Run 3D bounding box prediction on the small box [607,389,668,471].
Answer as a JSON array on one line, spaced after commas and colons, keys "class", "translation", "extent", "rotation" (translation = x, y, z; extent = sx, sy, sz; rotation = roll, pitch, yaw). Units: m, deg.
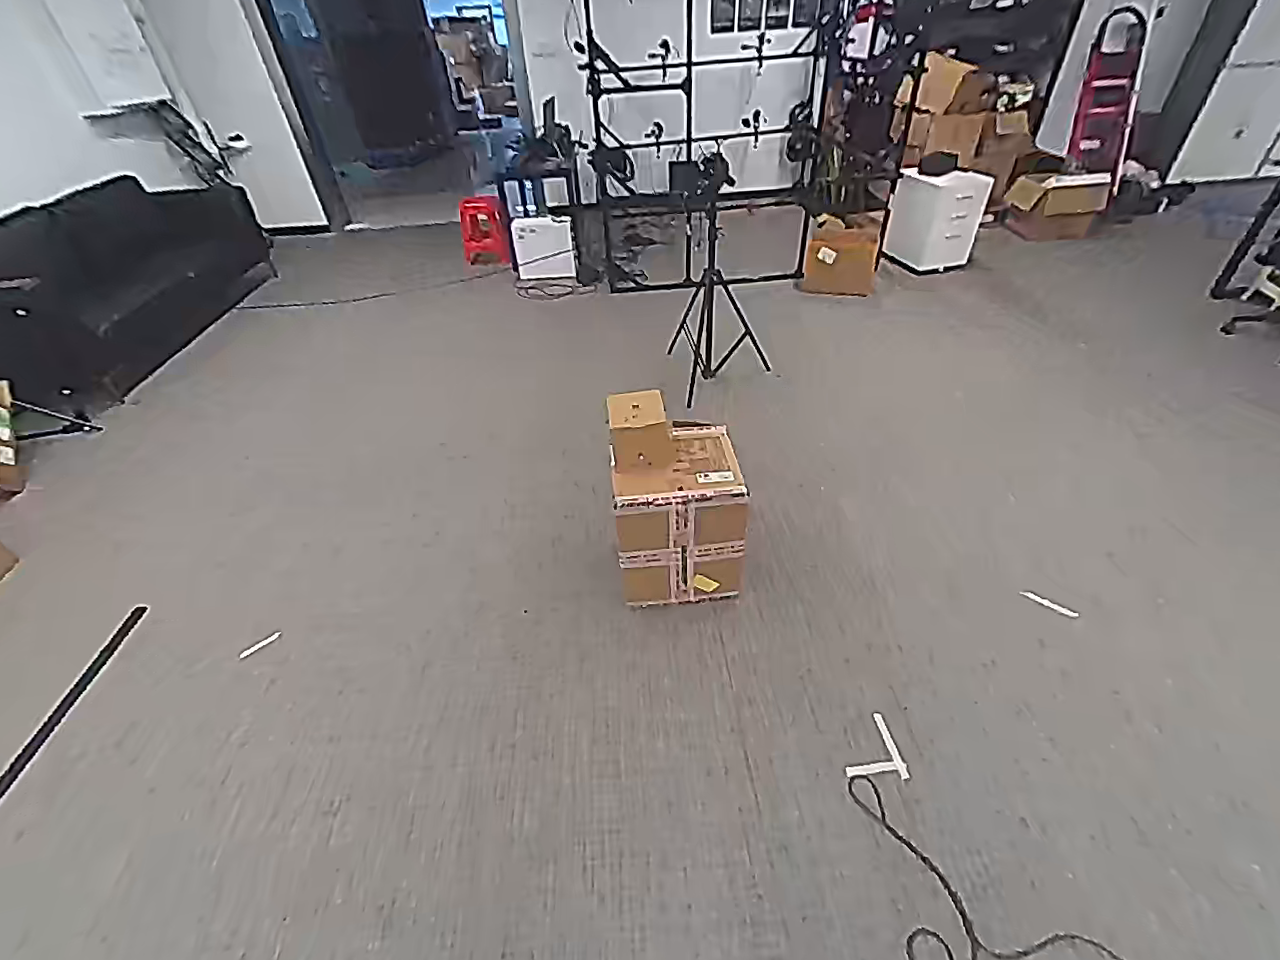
[{"class": "small box", "translation": [-0.008, -0.152, 1.646], "extent": [0.168, 0.176, 0.179], "rotation": [-8, 43, -1]}]
